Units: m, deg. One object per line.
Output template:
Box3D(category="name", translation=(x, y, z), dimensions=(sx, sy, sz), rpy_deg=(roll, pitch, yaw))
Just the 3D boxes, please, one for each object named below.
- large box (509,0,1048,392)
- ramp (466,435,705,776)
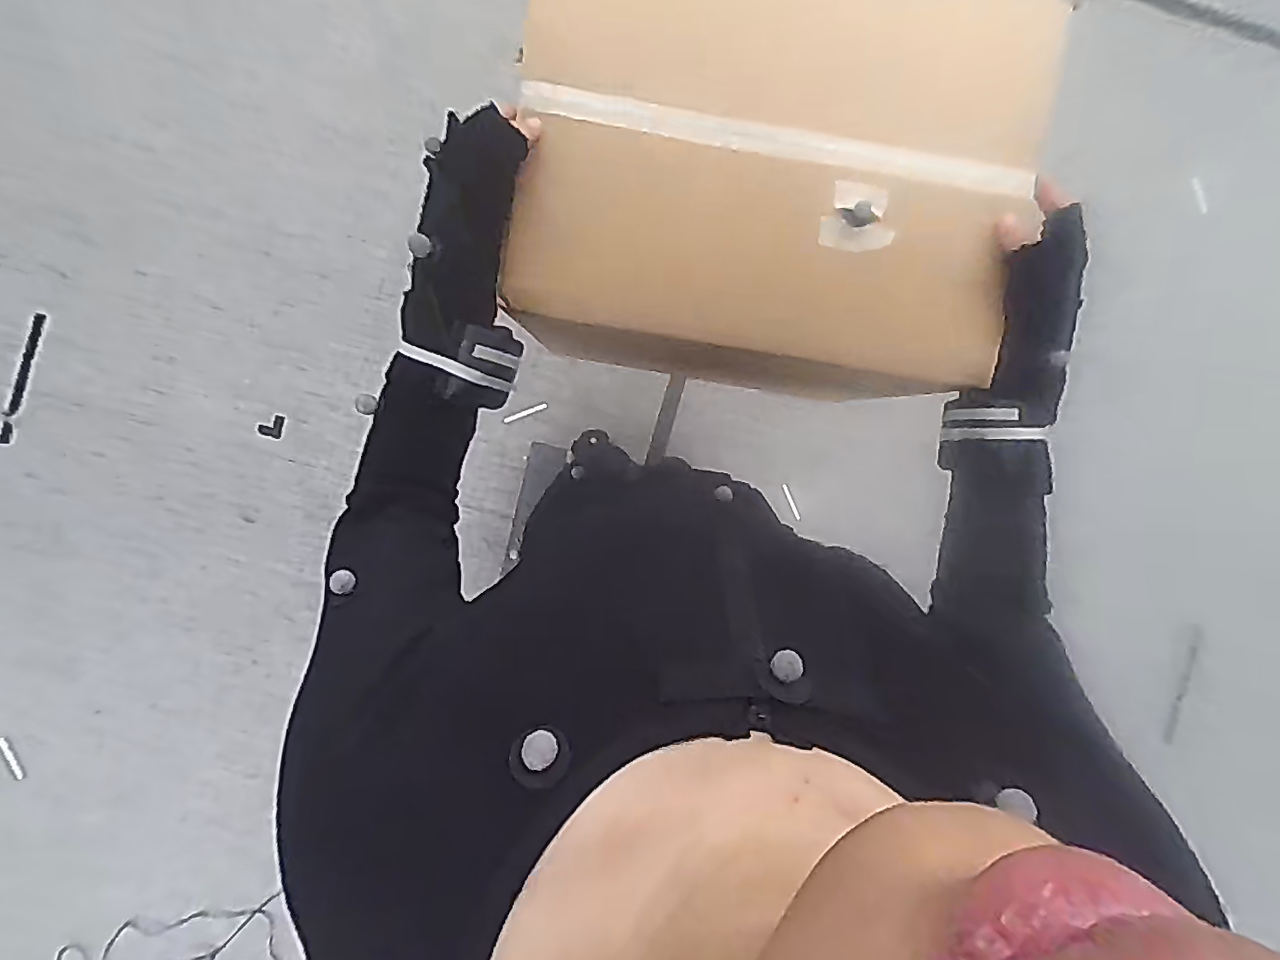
Box3D(category="large box", translation=(0.102, -0.283, 0.580), dimensions=(0.408, 0.320, 0.320), rpy_deg=(9, 96, -3))
Box3D(category="ramp", translation=(-0.178, 0.404, 1.586), dimensions=(0.509, 0.206, 0.991), rpy_deg=(13, 92, -3))
